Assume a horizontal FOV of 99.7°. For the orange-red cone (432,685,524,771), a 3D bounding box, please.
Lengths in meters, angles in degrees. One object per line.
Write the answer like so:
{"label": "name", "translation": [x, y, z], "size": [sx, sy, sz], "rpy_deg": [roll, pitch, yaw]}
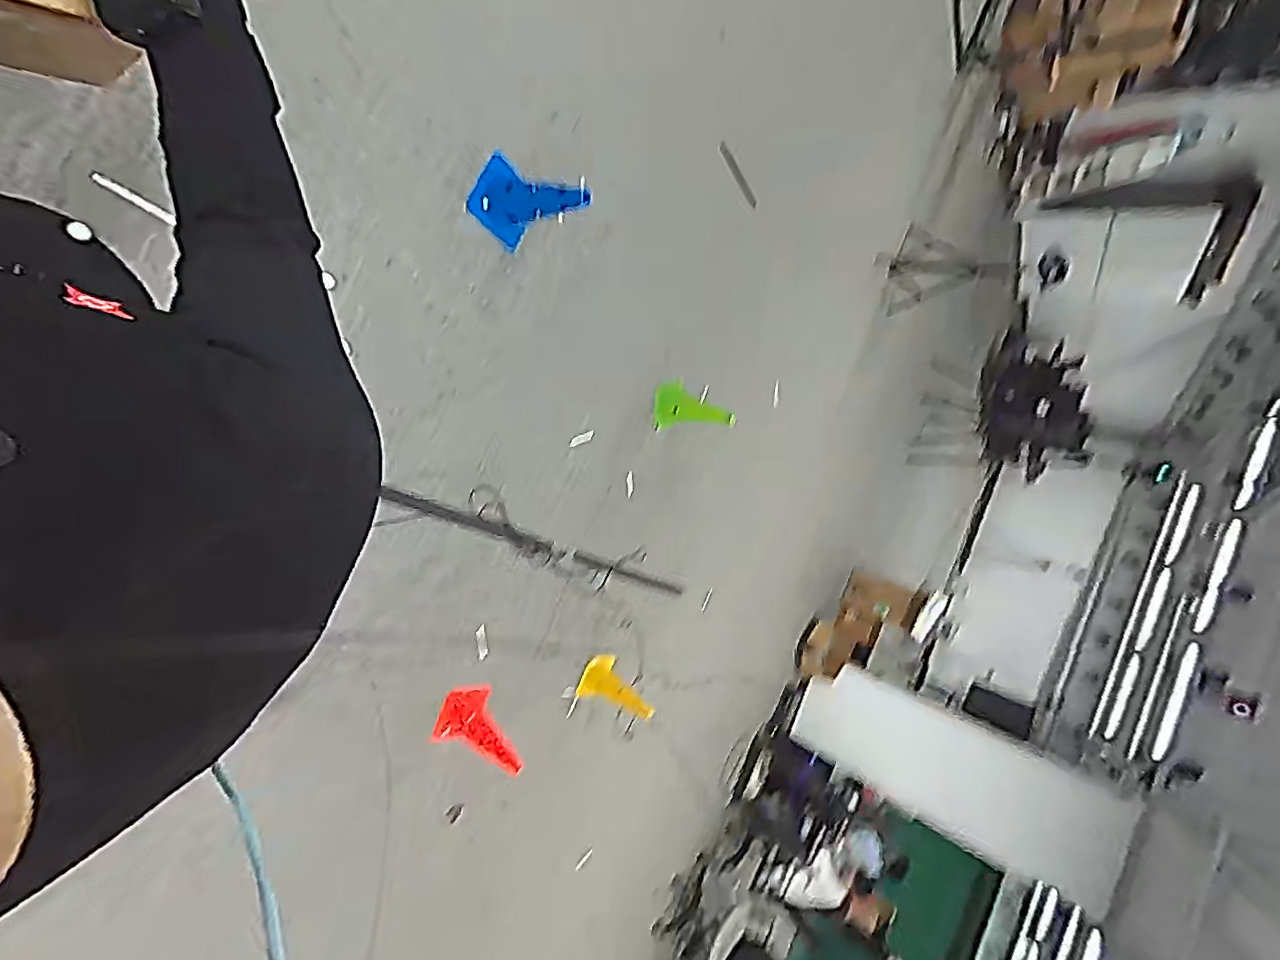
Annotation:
{"label": "orange-red cone", "translation": [-0.538, 0.914, 1.926], "size": [0.199, 0.360, 0.198], "rpy_deg": [26, 86, -54]}

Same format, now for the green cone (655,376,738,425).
{"label": "green cone", "translation": [0.264, -0.322, 2.363], "size": [0.200, 0.368, 0.202], "rpy_deg": [-26, 123, -43]}

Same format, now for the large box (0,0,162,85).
{"label": "large box", "translation": [-0.568, -0.462, 0.280], "size": [0.408, 0.320, 0.320], "rpy_deg": [-16, 122, -46]}

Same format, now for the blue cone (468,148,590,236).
{"label": "blue cone", "translation": [-0.285, -0.805, 1.499], "size": [0.193, 0.380, 0.192], "rpy_deg": [35, 77, -52]}
